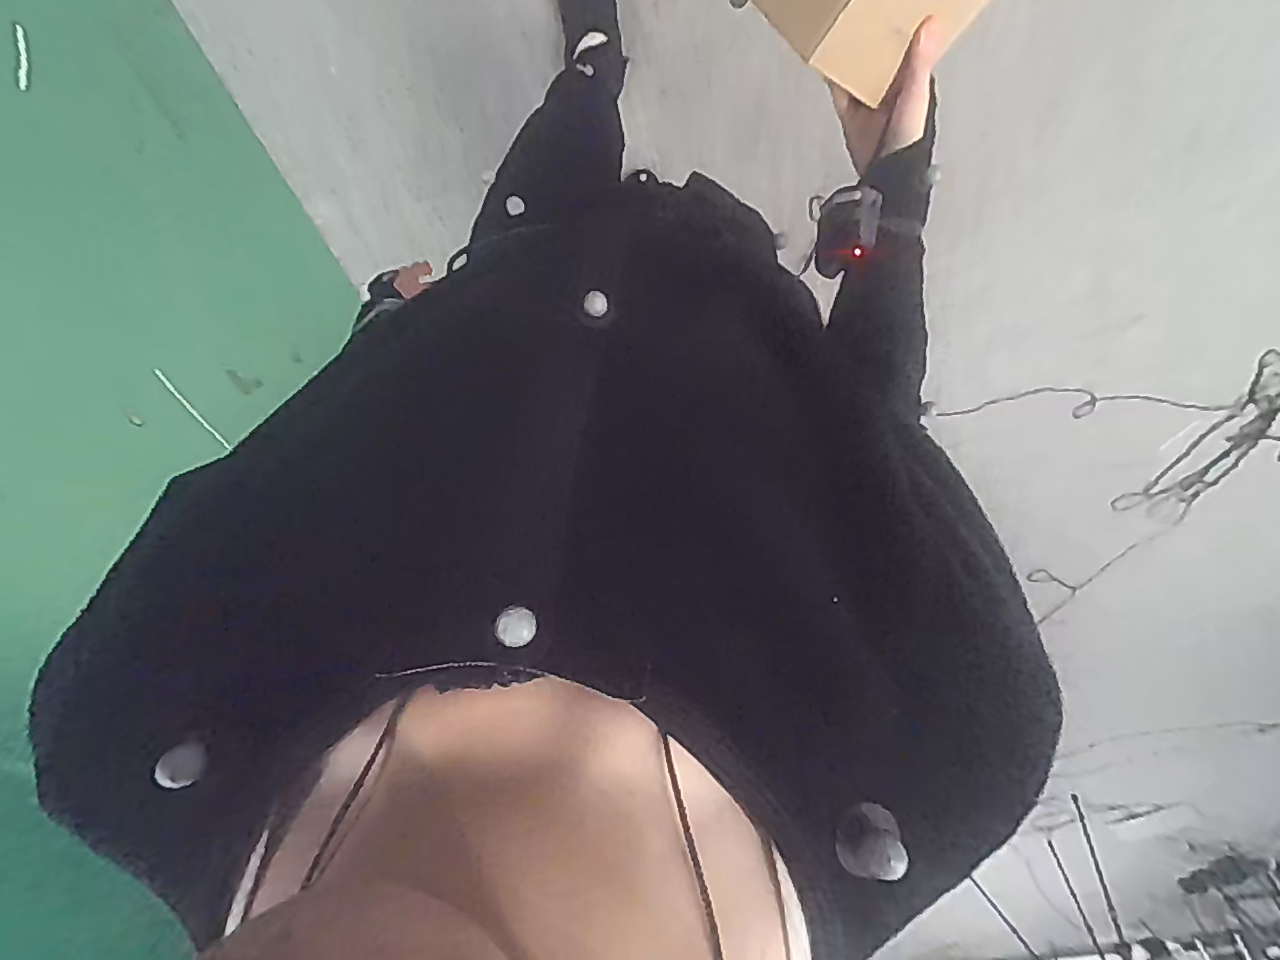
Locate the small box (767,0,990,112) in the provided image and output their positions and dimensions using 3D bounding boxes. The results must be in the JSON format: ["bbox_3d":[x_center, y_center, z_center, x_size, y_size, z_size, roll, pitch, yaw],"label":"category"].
[{"bbox_3d":[0.169,-0.413,0.376,0.168,0.176,0.179,-20,163,-46],"label":"small box"}]

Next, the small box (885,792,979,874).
[{"bbox_3d":[0.884,1.076,1.654,0.179,0.176,0.168,-3,128,1],"label":"small box"}]

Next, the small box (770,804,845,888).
[{"bbox_3d":[0.521,1.137,1.687,0.179,0.176,0.168,-15,126,7],"label":"small box"}]
